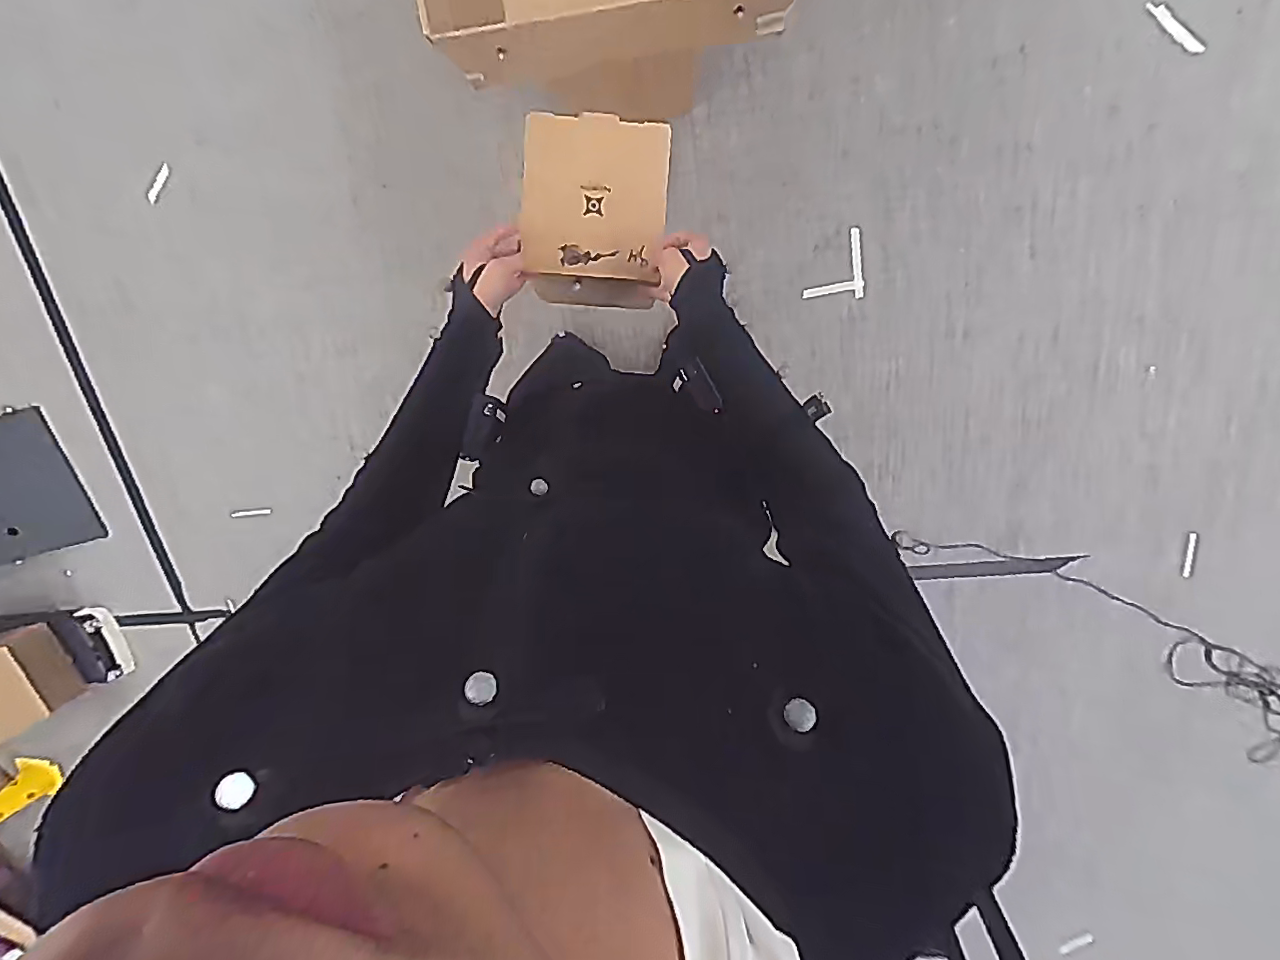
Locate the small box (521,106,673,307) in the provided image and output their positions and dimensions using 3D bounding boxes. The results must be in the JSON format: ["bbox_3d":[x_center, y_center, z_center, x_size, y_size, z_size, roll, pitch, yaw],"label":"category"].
[{"bbox_3d":[-0.054,-0.335,0.696,0.168,0.176,0.179,4,96,-3],"label":"small box"}]
